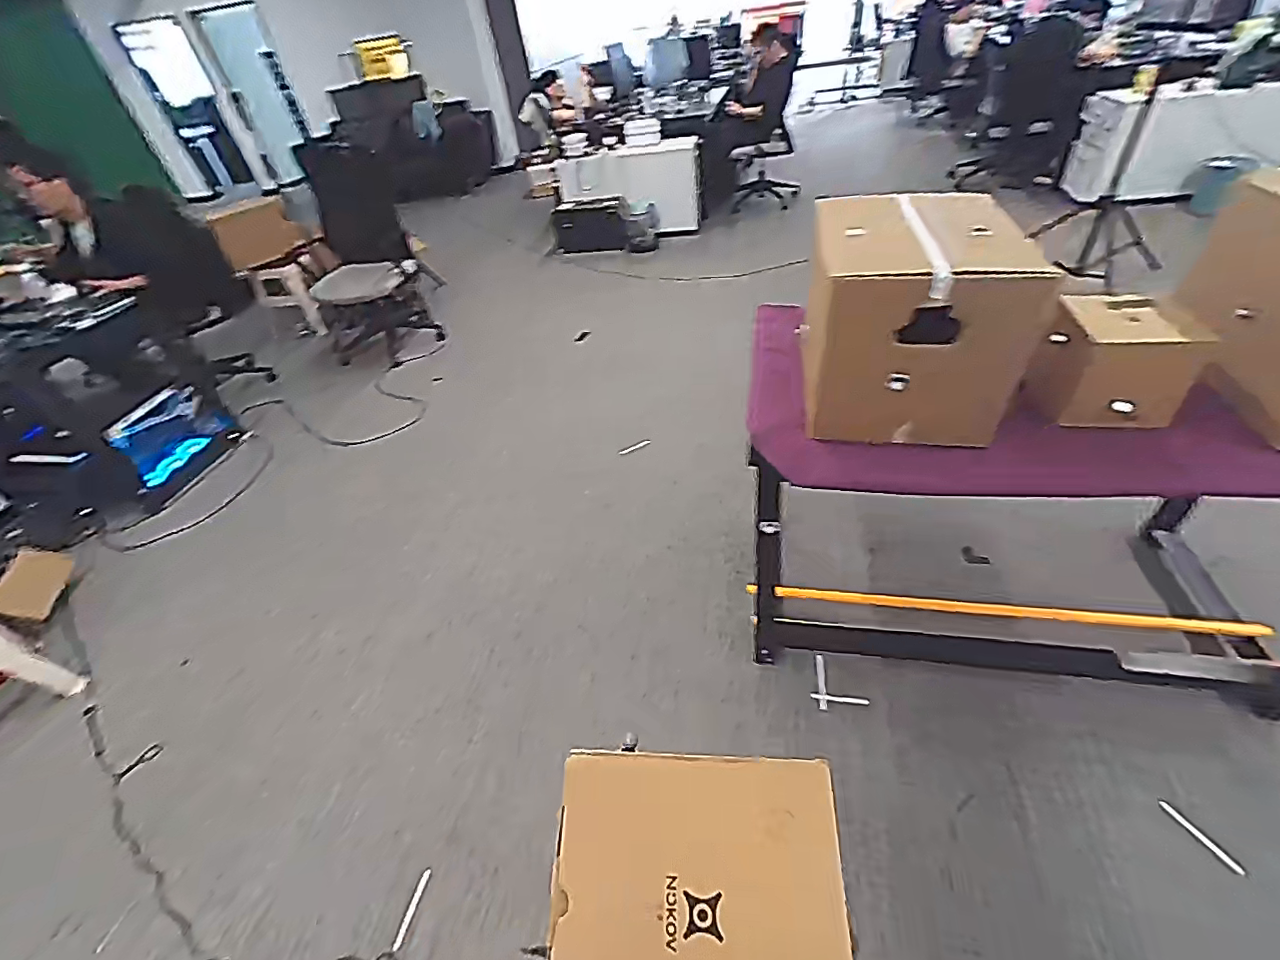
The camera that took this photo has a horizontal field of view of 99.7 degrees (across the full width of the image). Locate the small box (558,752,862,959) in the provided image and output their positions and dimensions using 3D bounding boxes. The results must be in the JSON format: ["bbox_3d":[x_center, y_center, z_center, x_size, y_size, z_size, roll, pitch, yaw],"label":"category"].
[{"bbox_3d":[0.051,0.291,0.387,0.179,0.176,0.168,-3,61,10],"label":"small box"}]

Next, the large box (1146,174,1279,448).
[{"bbox_3d":[1.159,-0.285,0.874,0.320,0.320,0.408,1,40,12],"label":"large box"}]
